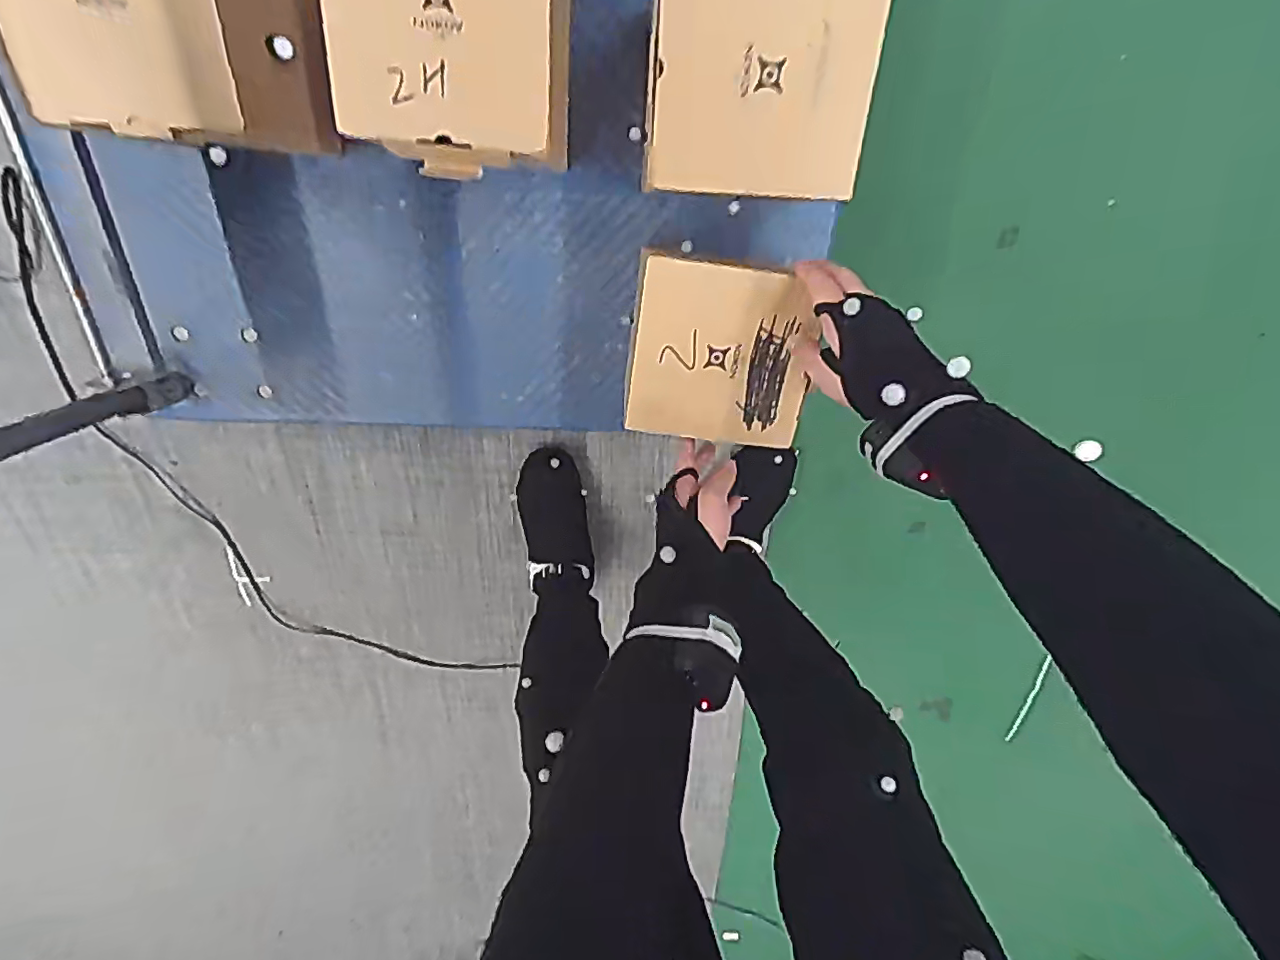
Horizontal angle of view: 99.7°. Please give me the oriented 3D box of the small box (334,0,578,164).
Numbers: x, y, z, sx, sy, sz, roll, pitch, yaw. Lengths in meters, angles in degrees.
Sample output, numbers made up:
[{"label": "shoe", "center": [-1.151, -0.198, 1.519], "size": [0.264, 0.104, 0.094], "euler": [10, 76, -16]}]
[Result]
[{"label": "small box", "center": [-0.145, -0.390, 0.469], "size": [0.168, 0.176, 0.179], "euler": [5, 116, -4]}]

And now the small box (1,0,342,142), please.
[{"label": "small box", "center": [-0.380, -0.399, 0.457], "size": [0.168, 0.176, 0.179], "euler": [3, 117, -3]}]

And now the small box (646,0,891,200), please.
[{"label": "small box", "center": [0.098, -0.356, 0.493], "size": [0.179, 0.176, 0.168], "euler": [3, 117, -3]}]
